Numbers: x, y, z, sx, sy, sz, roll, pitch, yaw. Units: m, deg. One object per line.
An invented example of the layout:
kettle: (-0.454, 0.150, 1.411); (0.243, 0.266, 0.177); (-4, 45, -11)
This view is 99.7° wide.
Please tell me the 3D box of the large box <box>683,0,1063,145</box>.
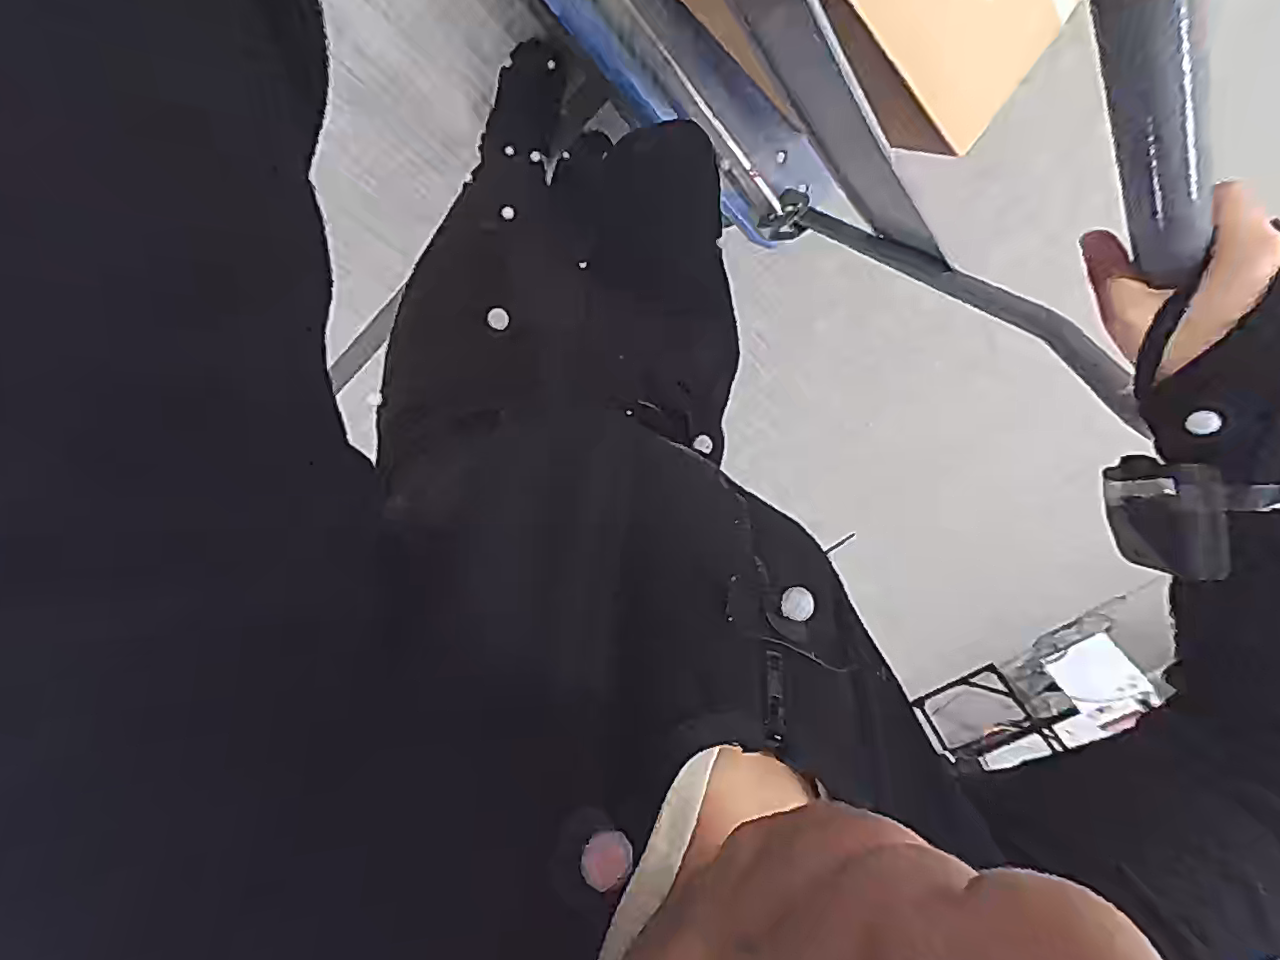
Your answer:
large box: (0.239, -0.642, 0.579); (0.408, 0.320, 0.320); (19, 115, -37)
